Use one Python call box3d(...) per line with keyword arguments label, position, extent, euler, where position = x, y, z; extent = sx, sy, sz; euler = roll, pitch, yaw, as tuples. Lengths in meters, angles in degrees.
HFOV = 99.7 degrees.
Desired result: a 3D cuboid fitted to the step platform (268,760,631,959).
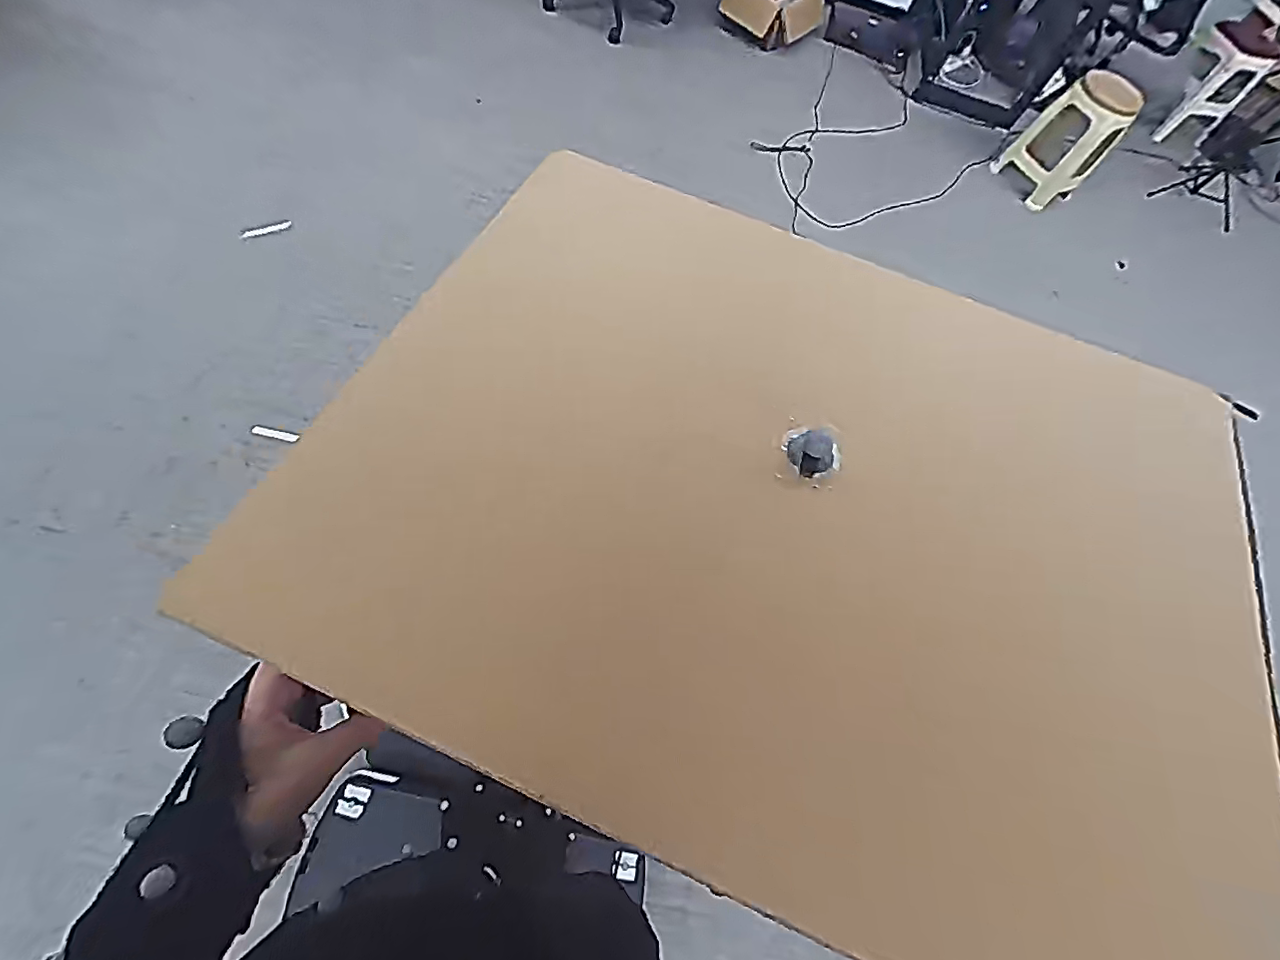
box3d(label="step platform", position=(-0.365, 0.834, 1.122), extent=(0.684, 0.204, 0.286), euler=(20, 64, -1))
